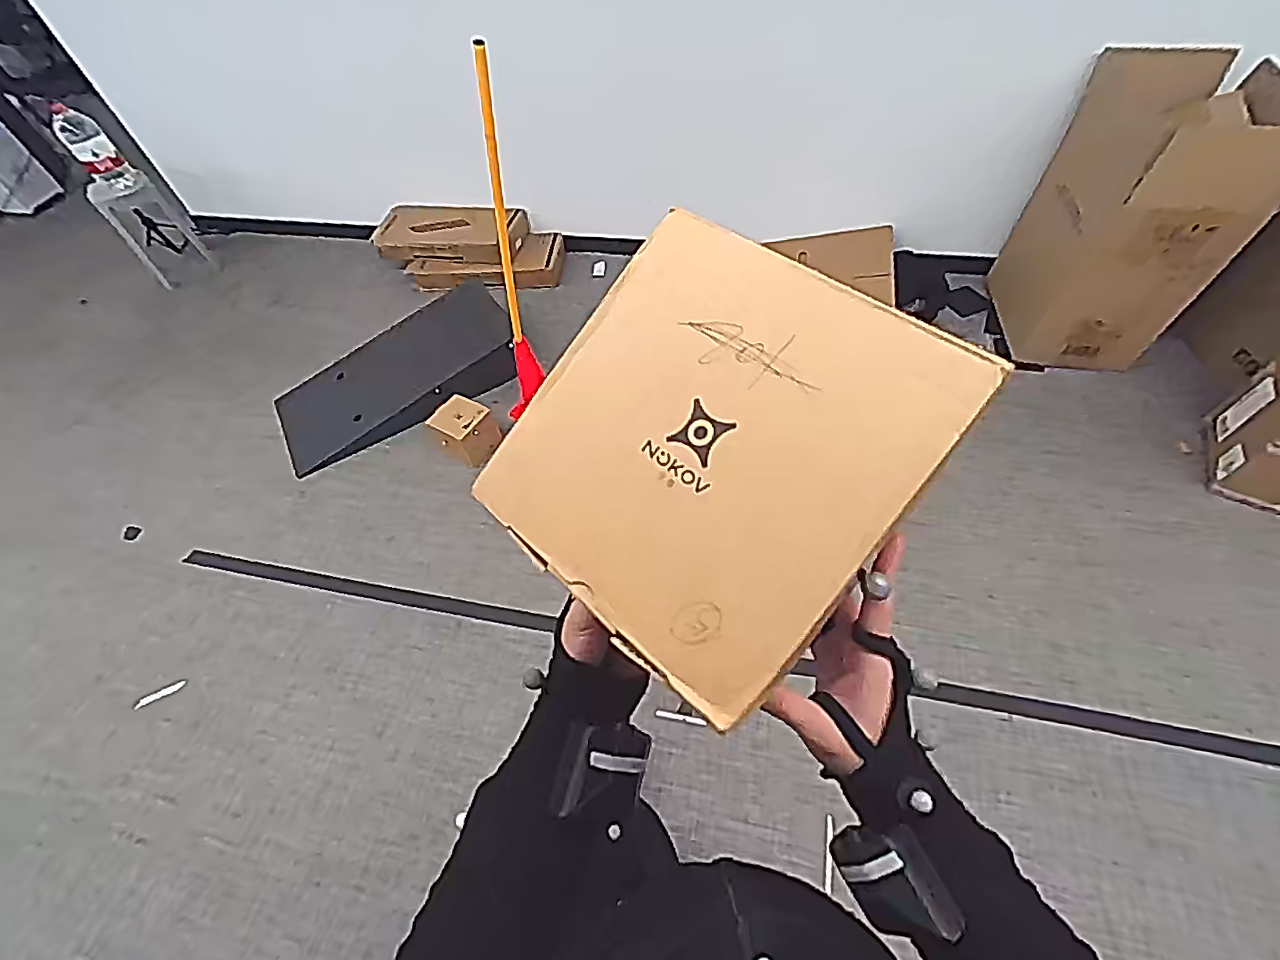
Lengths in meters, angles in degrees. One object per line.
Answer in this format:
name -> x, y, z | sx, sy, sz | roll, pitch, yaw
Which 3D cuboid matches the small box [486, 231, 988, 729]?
small box -> 0.056, 0.004, 0.316 | 0.168, 0.176, 0.179 | 37, 93, 23
